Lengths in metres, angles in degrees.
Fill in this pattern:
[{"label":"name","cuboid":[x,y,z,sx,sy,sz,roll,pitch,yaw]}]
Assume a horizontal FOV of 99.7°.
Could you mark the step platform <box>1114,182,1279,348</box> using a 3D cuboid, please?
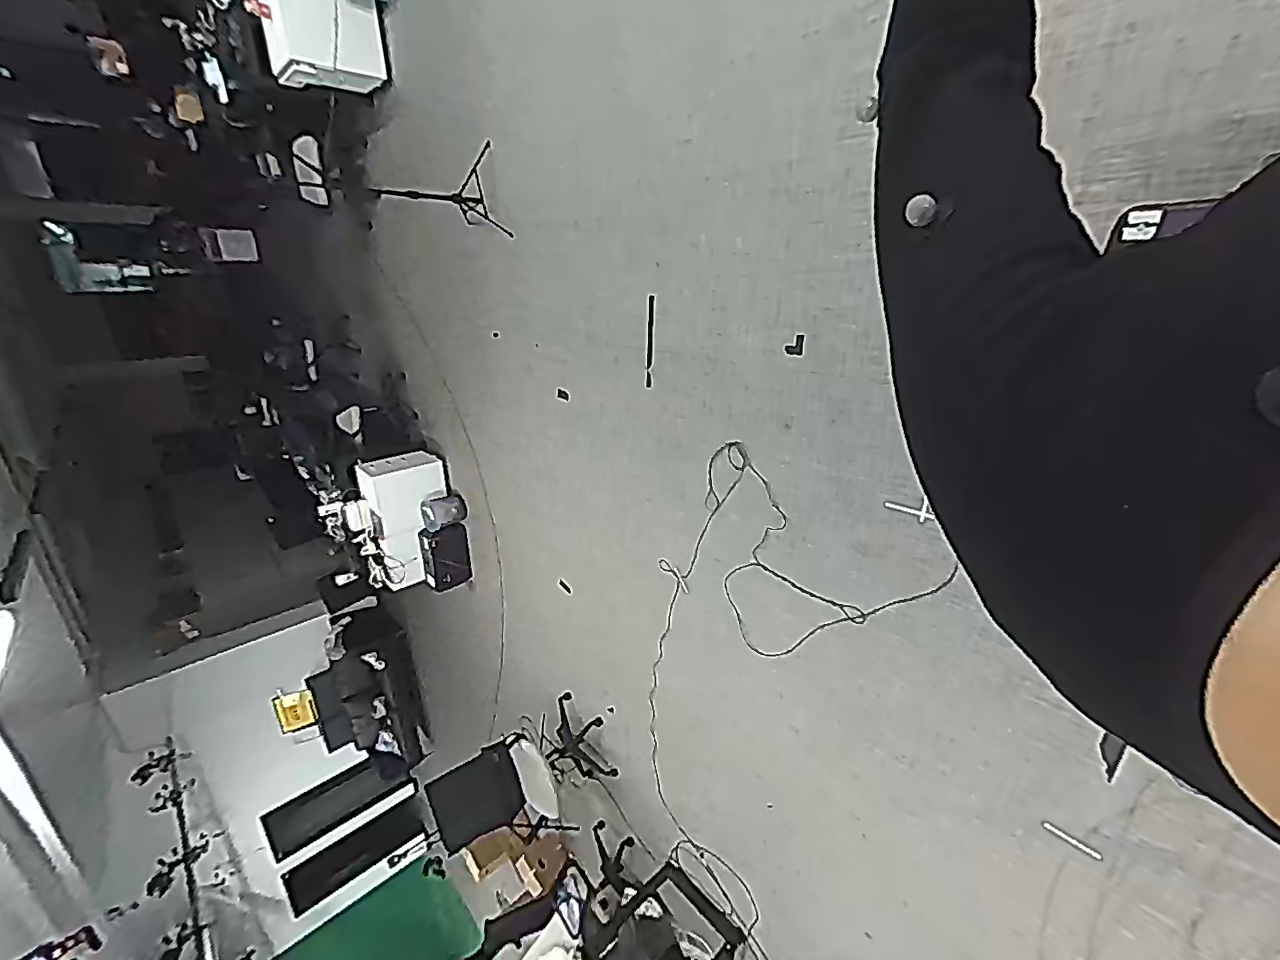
[{"label":"step platform","cuboid":[1.265,-0.370,0.920,0.684,0.204,0.286,18,118,43]}]
